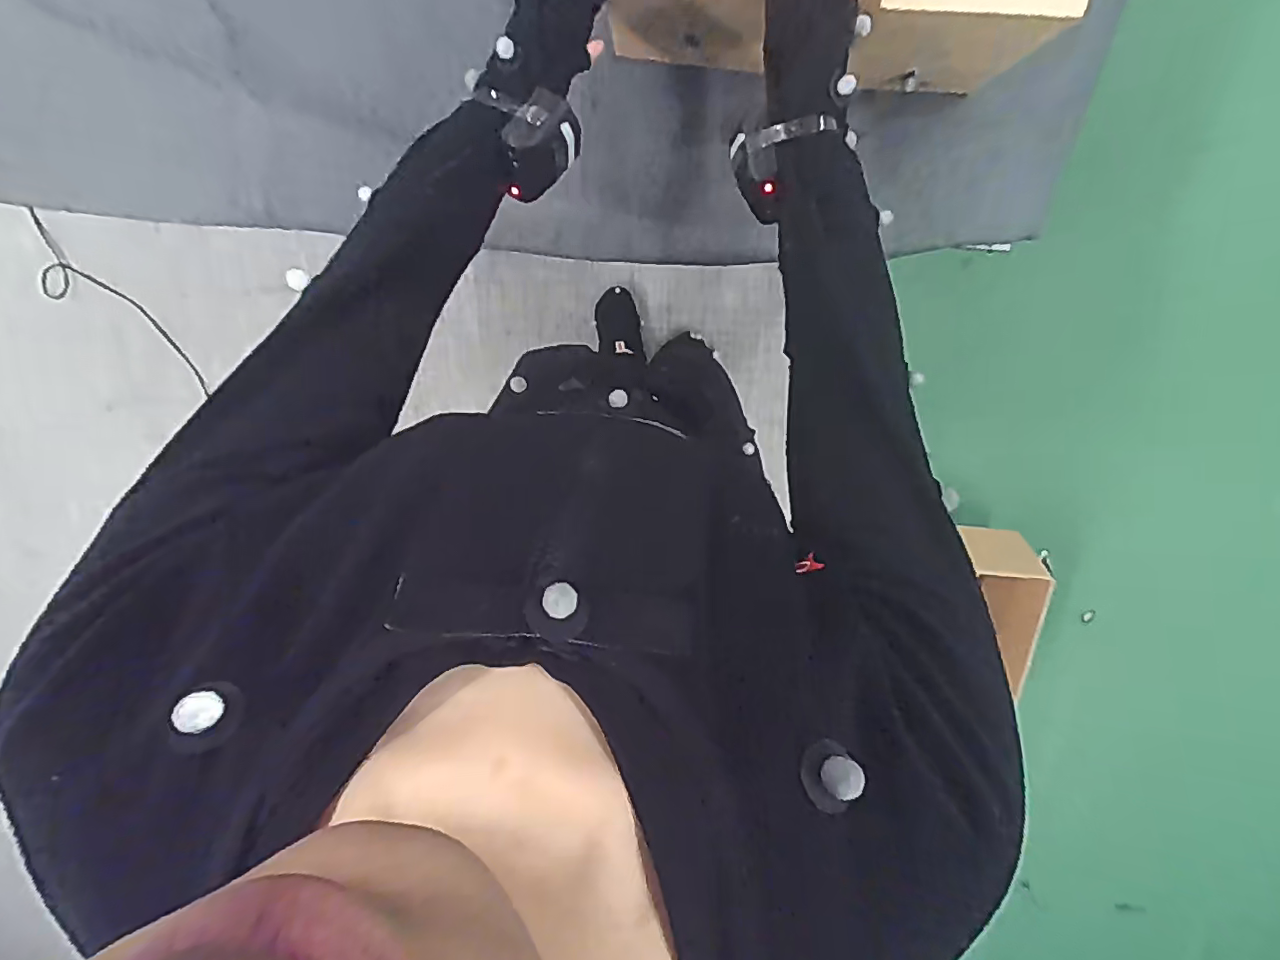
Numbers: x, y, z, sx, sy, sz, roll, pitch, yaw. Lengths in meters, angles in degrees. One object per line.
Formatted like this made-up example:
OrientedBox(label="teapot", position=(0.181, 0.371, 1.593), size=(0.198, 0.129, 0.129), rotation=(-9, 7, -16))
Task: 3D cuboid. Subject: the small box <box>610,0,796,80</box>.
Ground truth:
OrientedBox(label="small box", position=(0.060, -0.506, 0.488), size=(0.168, 0.176, 0.179), rotation=(7, 108, -1))
